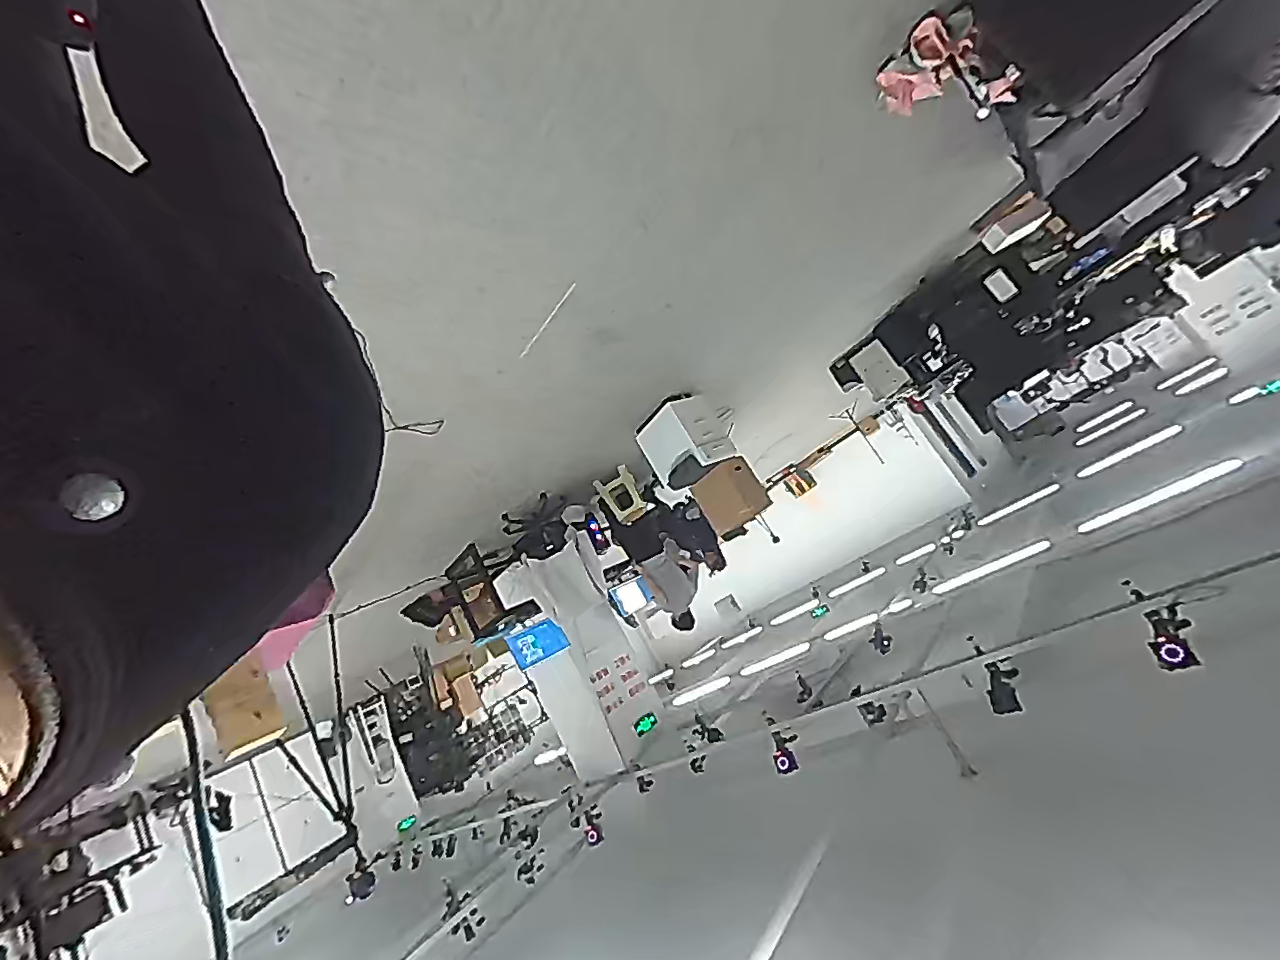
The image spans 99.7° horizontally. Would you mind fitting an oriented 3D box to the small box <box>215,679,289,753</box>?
[{"bbox_3d":[-1.366,0.823,1.898,0.168,0.176,0.179,-15,162,-47],"label":"small box"}]
